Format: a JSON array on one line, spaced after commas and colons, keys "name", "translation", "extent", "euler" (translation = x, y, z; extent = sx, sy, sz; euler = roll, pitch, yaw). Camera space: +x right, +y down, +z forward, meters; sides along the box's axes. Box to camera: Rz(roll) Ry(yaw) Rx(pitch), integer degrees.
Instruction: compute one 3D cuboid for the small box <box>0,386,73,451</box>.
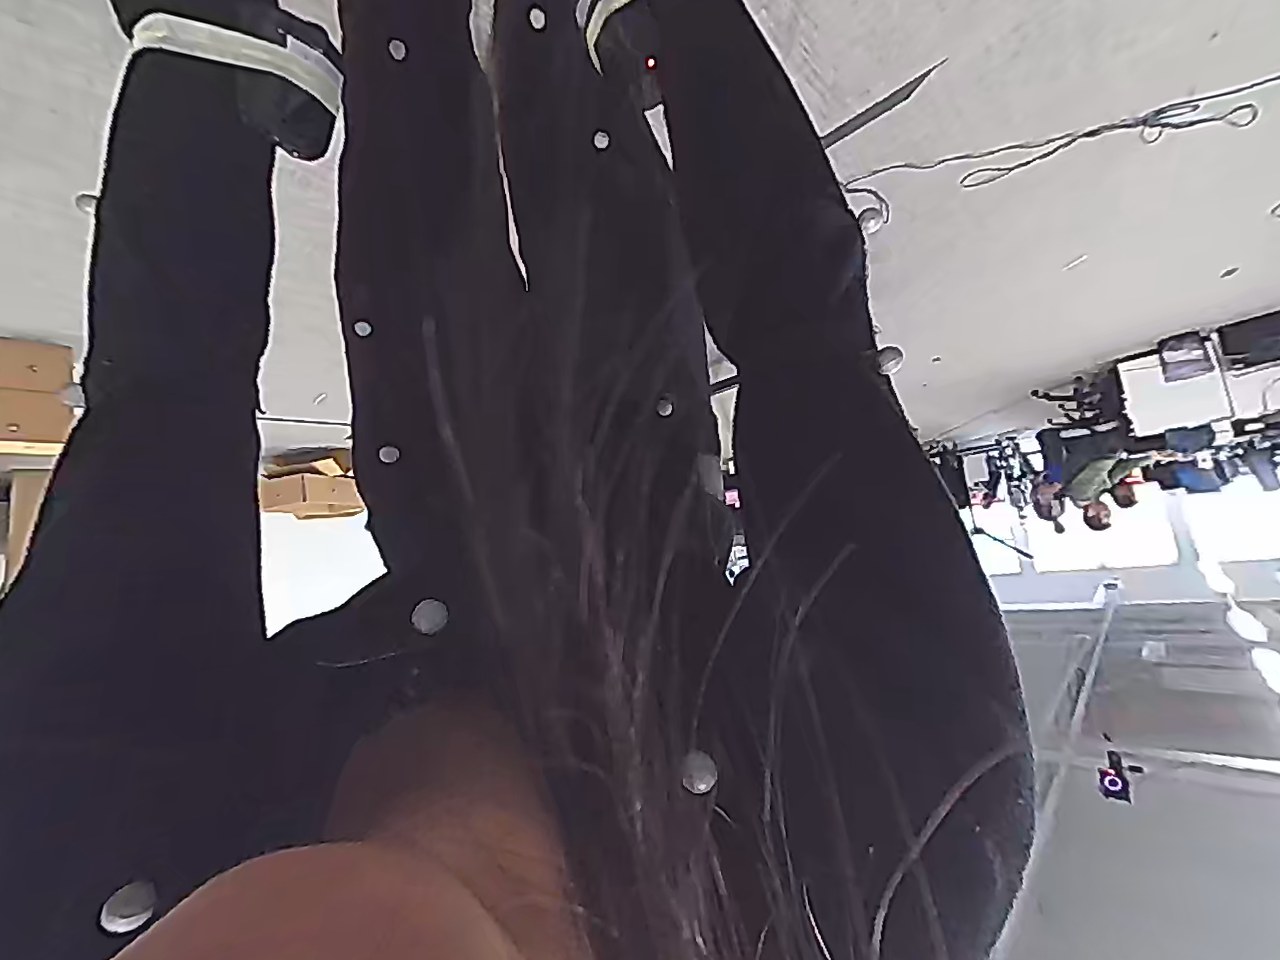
[{"name": "small box", "translation": [-1.967, -0.198, 1.745], "extent": [0.168, 0.176, 0.179], "euler": [-12, 172, 38]}]
